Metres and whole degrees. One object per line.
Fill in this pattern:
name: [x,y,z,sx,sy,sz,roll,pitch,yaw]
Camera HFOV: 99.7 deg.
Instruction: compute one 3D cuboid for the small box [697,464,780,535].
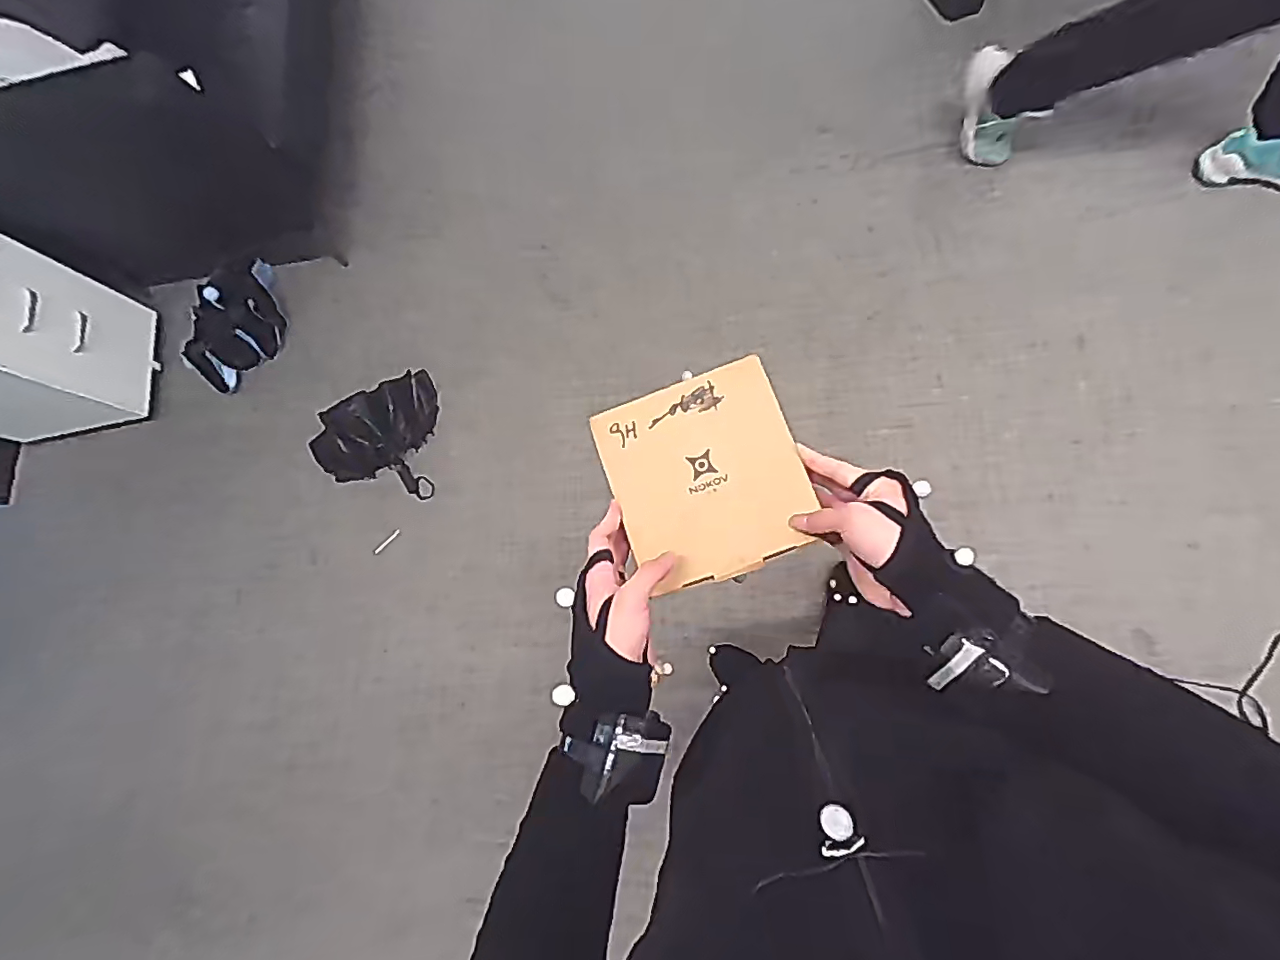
small box: [0.256,0.035,1.385,0.168,0.176,0.179,-19,73,6]
